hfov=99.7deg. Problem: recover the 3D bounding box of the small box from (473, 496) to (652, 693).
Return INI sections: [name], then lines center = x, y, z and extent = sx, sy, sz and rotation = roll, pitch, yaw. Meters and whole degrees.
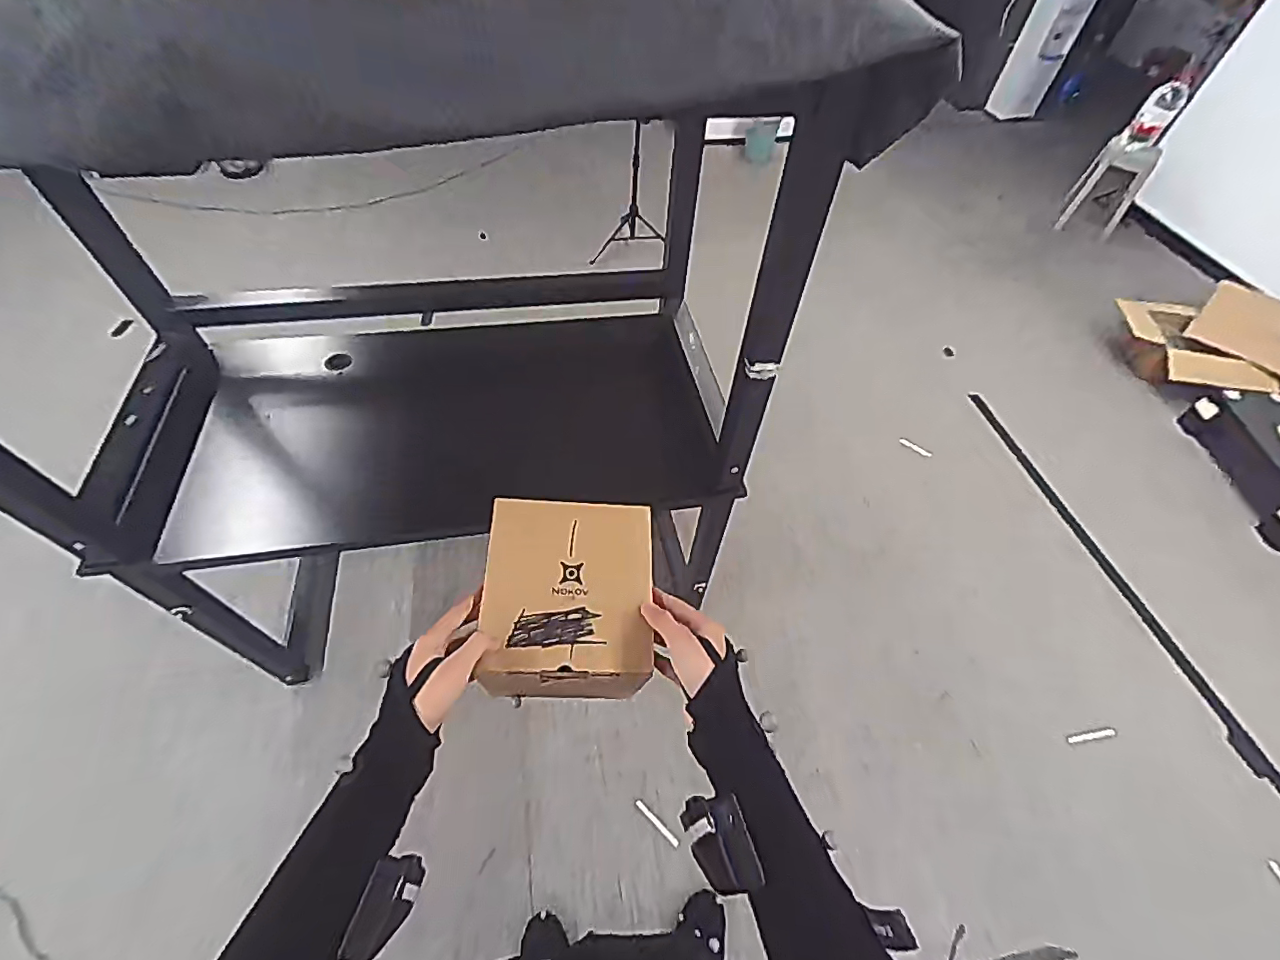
[small box]
center = -0.079, 0.135, 0.600
extent = 0.168, 0.176, 0.179
rotation = 4, 60, -7
